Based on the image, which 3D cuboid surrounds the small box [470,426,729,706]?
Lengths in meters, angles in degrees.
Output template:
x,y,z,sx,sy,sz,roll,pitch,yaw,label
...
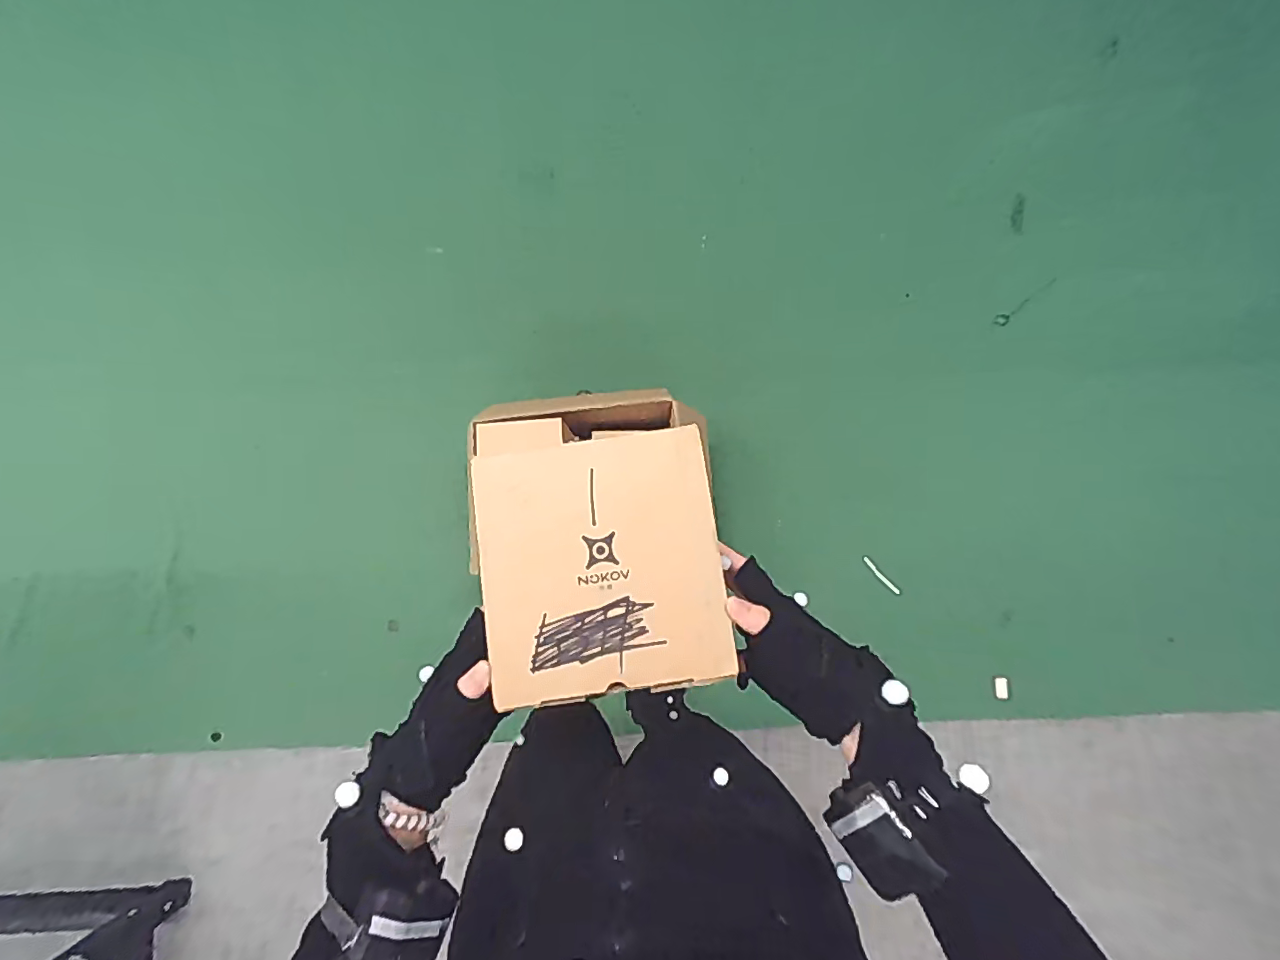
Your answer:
x,y,z,sx,sy,sz,roll,pitch,yaw,label
-0.029,0.067,0.450,0.168,0.176,0.179,-8,81,-1,small box
